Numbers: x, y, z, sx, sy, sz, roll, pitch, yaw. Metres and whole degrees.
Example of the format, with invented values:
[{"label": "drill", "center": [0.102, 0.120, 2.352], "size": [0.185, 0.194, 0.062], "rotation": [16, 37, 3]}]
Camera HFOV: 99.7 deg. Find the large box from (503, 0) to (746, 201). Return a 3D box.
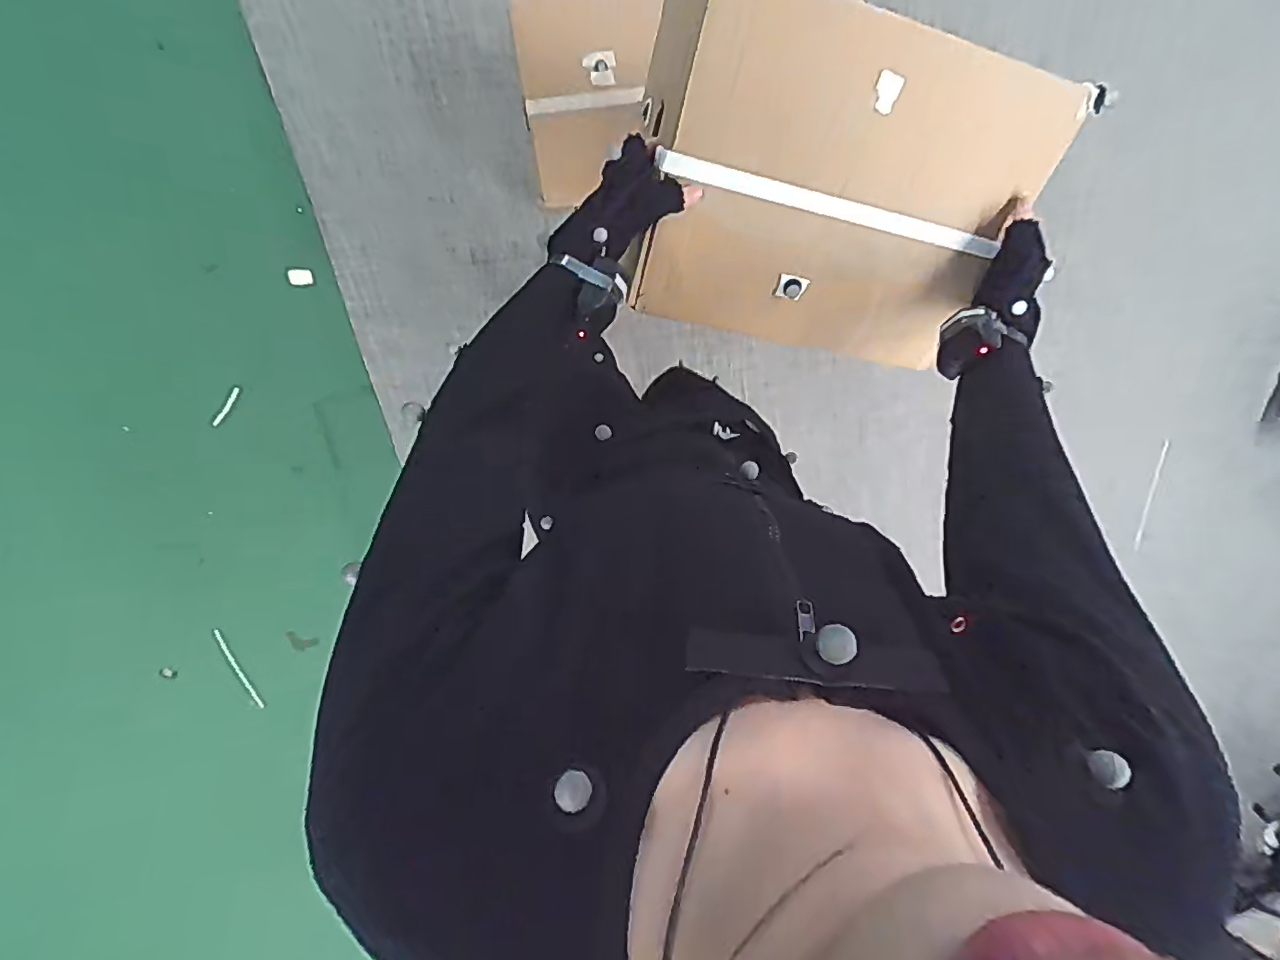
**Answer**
[{"label": "large box", "center": [-0.032, -0.753, 1.075], "size": [0.408, 0.320, 0.320], "rotation": [-10, 116, -6]}]
